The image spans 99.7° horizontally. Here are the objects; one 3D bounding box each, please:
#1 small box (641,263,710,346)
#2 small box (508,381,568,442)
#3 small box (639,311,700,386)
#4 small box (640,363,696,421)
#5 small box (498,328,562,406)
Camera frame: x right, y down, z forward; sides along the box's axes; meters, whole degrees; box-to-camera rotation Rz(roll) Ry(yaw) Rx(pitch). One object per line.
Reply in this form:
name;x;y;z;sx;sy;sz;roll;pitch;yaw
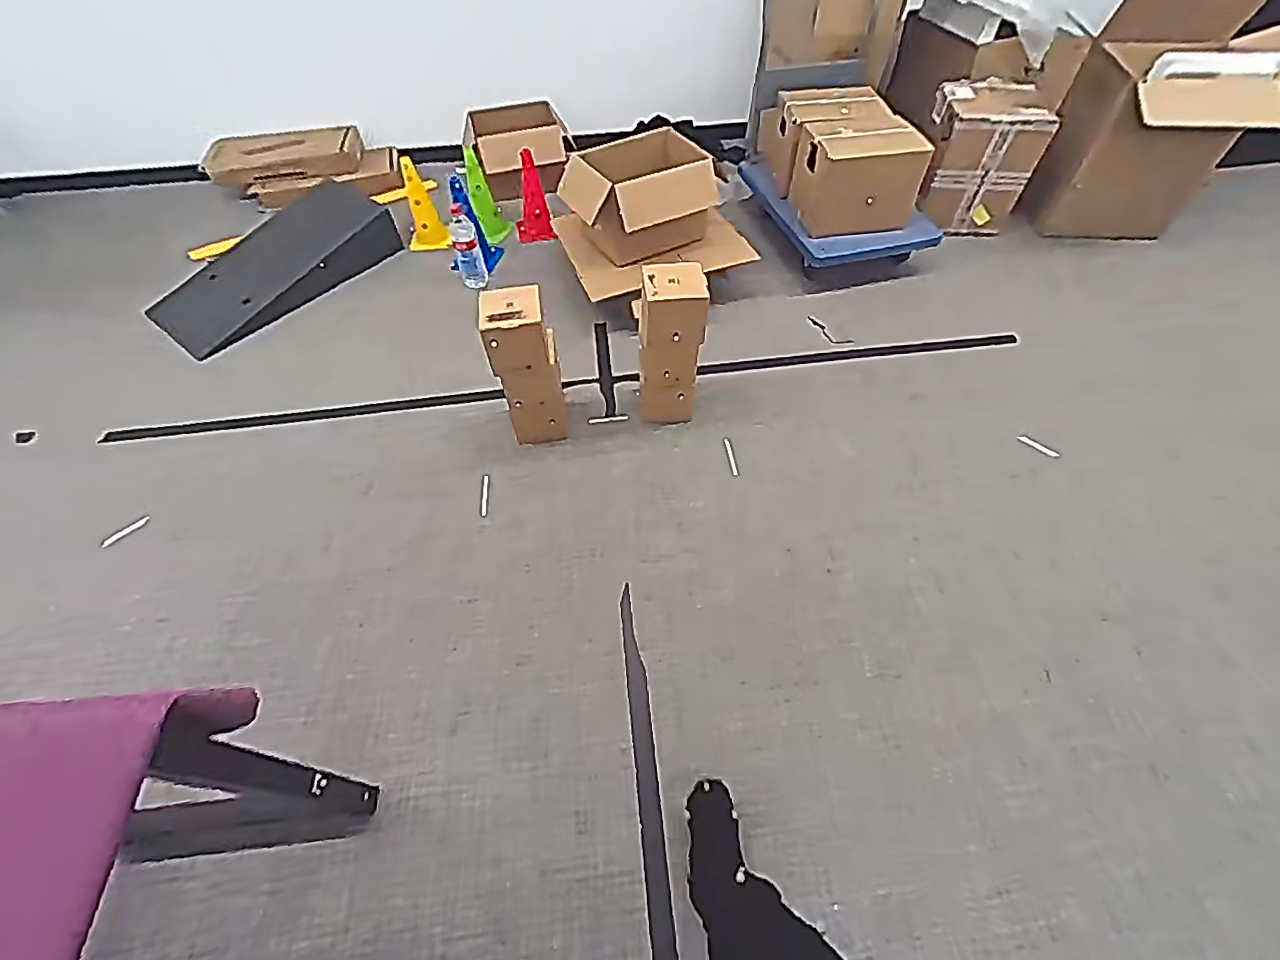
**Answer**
small box;0.099;-0.512;1.584;0.179;0.176;0.168;-3;55;-4
small box;-0.339;-0.246;1.804;0.179;0.176;0.168;-9;54;-4
small box;0.088;-0.422;1.722;0.168;0.176;0.179;-6;55;-4
small box;0.091;-0.317;1.846;0.179;0.176;0.168;-2;54;-1
small box;-0.335;-0.343;1.671;0.168;0.176;0.179;-6;53;-3
